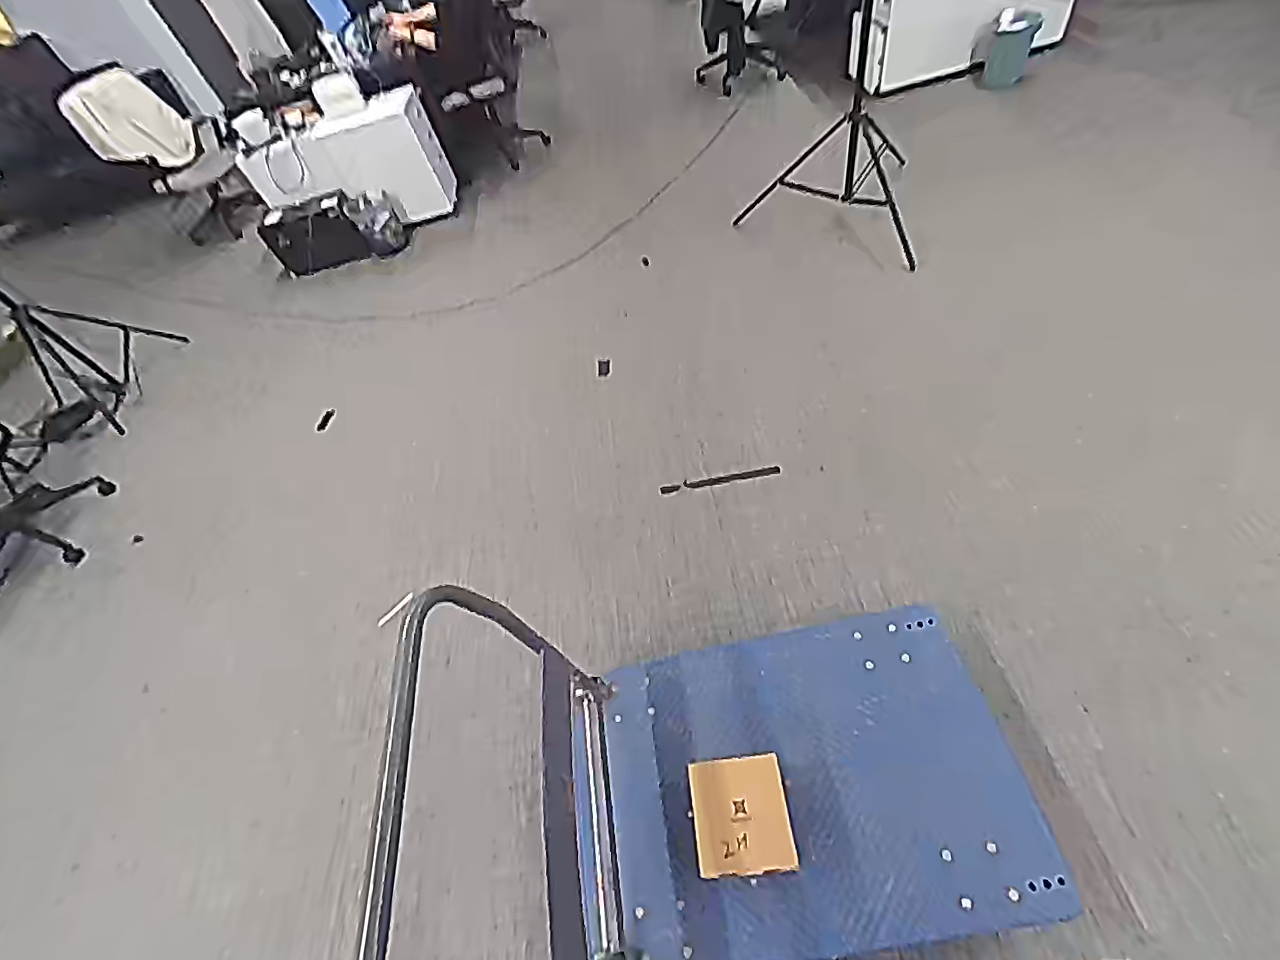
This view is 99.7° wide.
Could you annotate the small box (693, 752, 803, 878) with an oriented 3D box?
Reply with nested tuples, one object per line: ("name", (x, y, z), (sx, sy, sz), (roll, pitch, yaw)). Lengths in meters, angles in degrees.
("small box", (0.199, 0.628, 1.008), (0.168, 0.176, 0.179), (-11, 52, 7))
